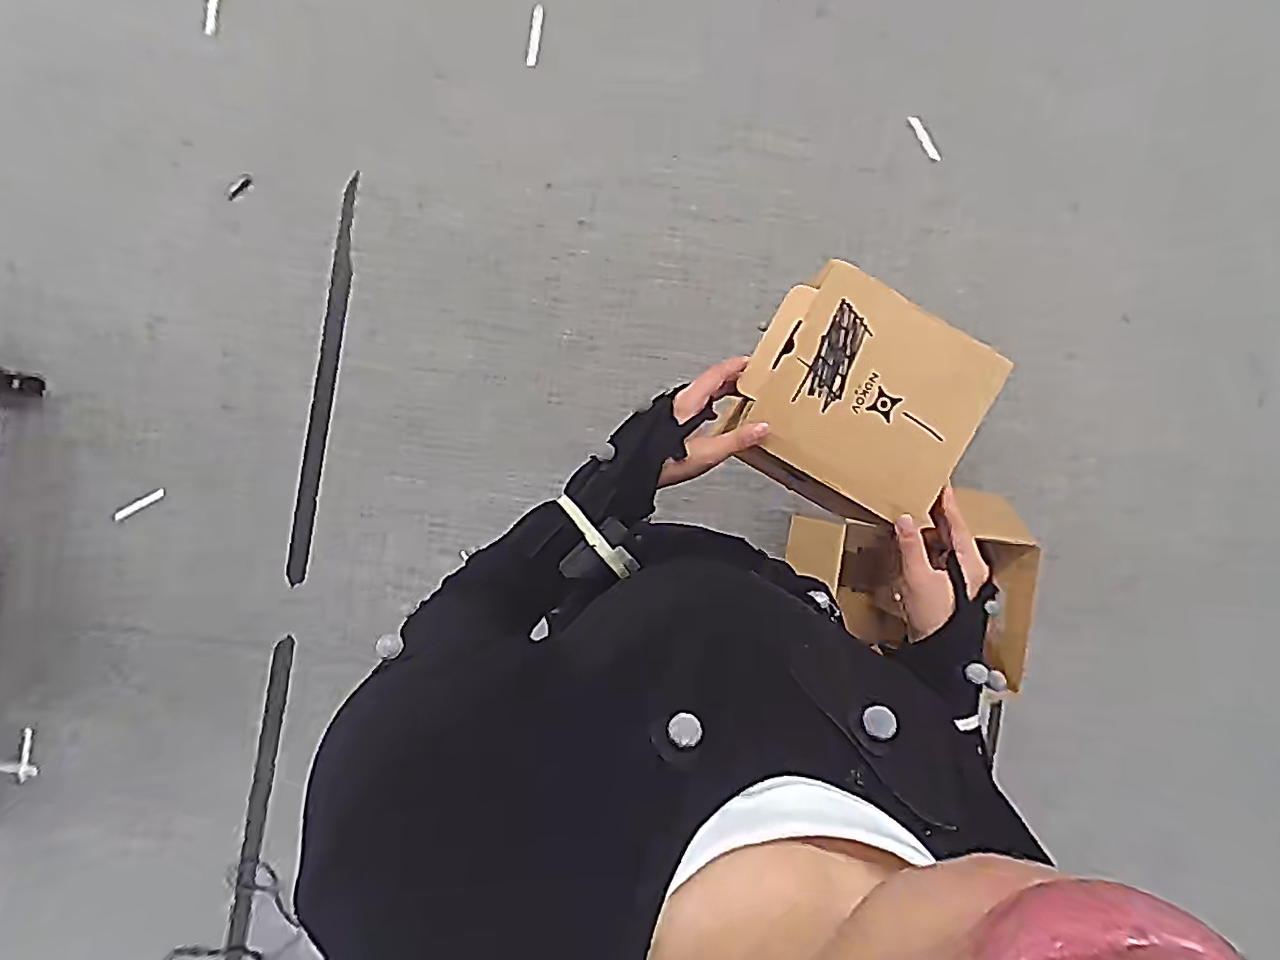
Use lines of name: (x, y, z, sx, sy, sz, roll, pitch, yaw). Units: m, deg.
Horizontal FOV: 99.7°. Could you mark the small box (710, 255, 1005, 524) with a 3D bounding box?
small box: (0.187, -0.076, 0.525, 0.179, 0.176, 0.168, 30, 92, -4)
